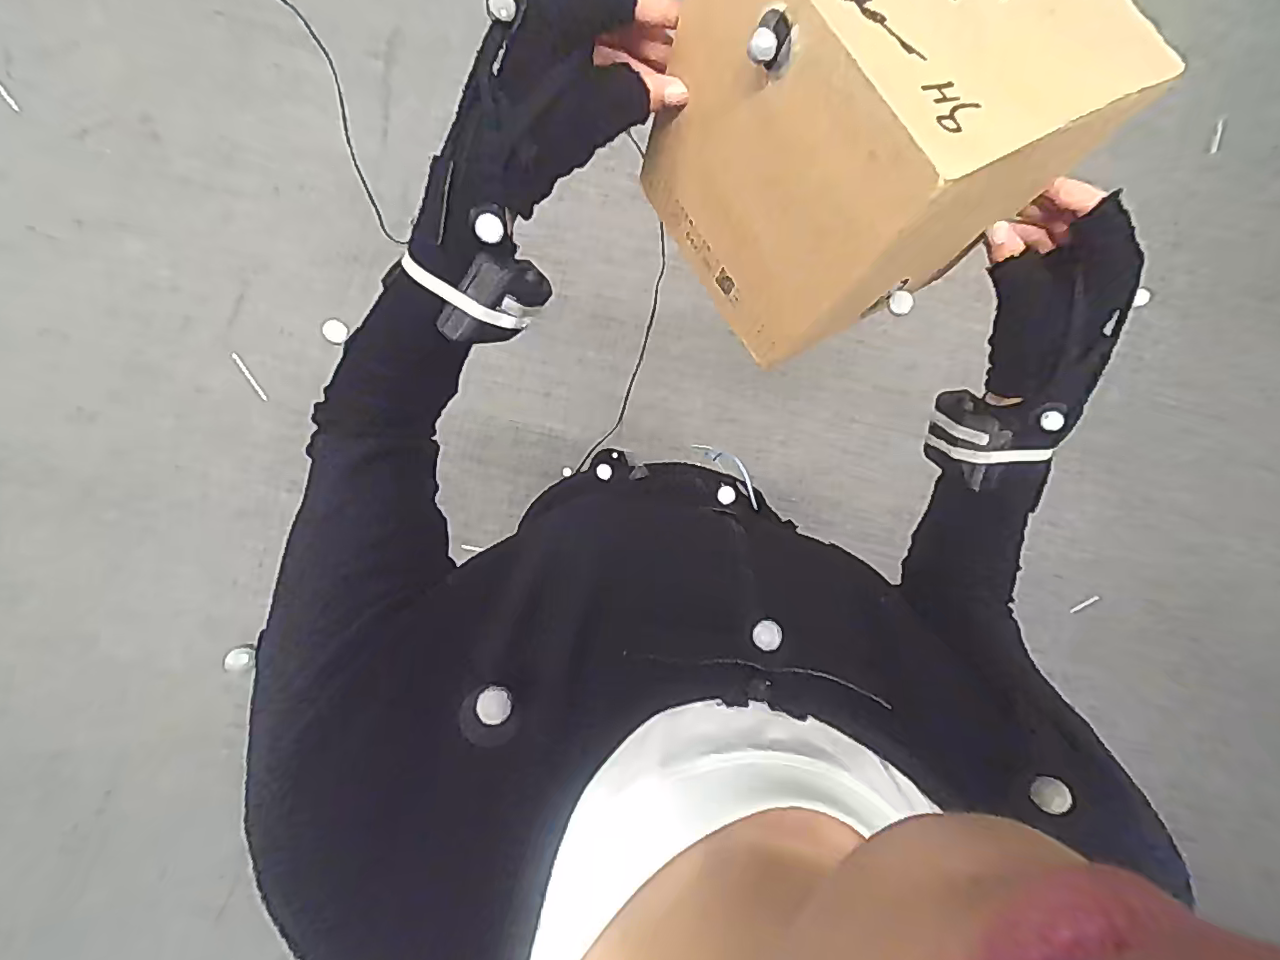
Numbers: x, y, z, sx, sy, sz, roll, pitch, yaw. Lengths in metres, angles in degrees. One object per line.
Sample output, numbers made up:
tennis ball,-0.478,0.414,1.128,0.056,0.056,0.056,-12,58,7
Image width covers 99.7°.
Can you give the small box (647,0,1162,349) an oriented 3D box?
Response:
small box,0.128,-0.210,0.322,0.179,0.176,0.168,-30,83,-17
